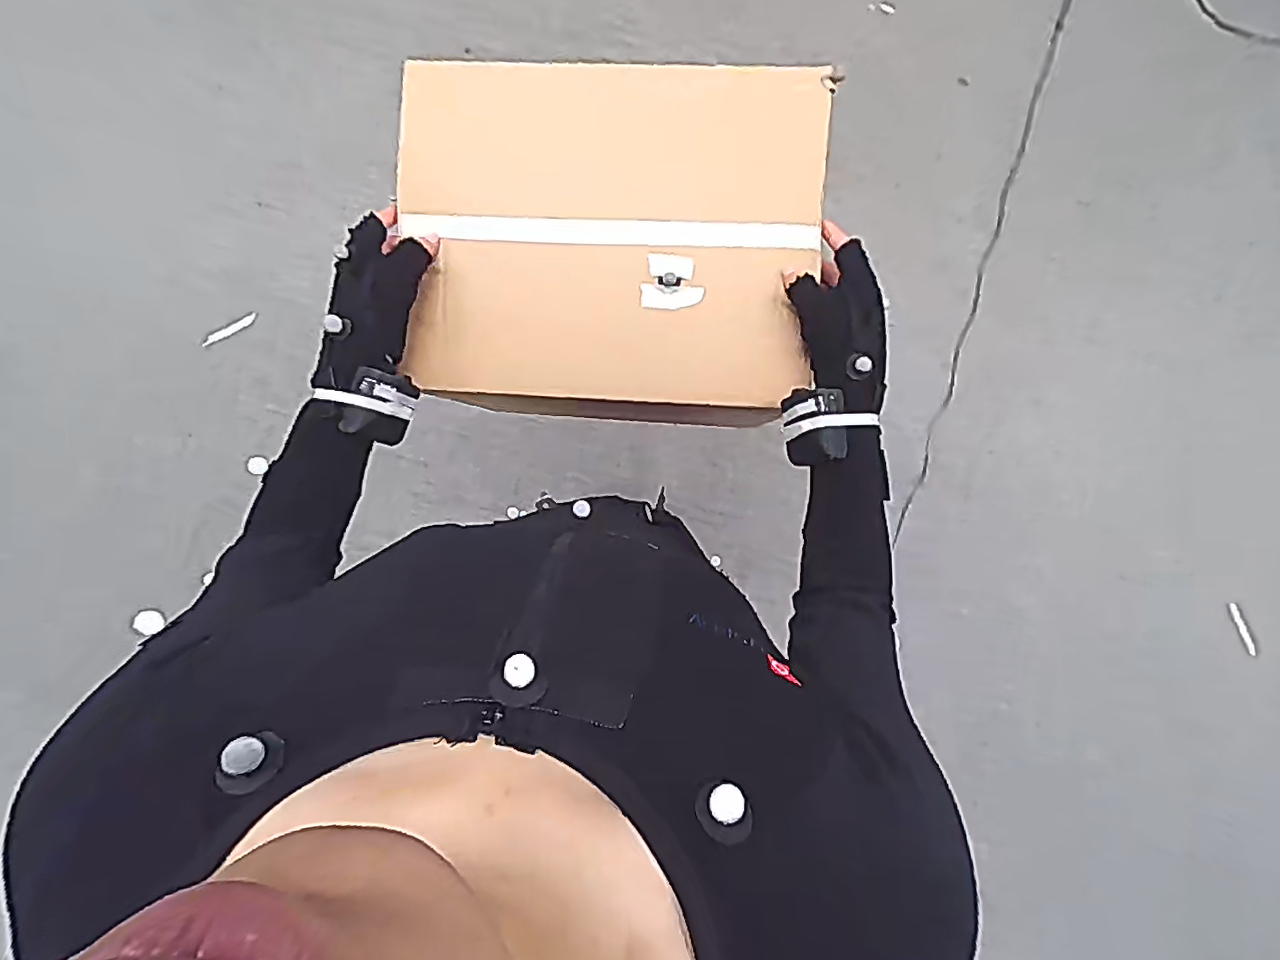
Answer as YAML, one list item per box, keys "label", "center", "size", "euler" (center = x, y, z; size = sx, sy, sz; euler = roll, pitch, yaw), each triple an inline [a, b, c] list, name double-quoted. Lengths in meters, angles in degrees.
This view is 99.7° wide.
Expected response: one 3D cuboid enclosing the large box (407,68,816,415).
- label: "large box"
  center: [-0.028, -0.251, 0.679]
  size: [0.408, 0.320, 0.320]
  euler: [2, 93, 3]
